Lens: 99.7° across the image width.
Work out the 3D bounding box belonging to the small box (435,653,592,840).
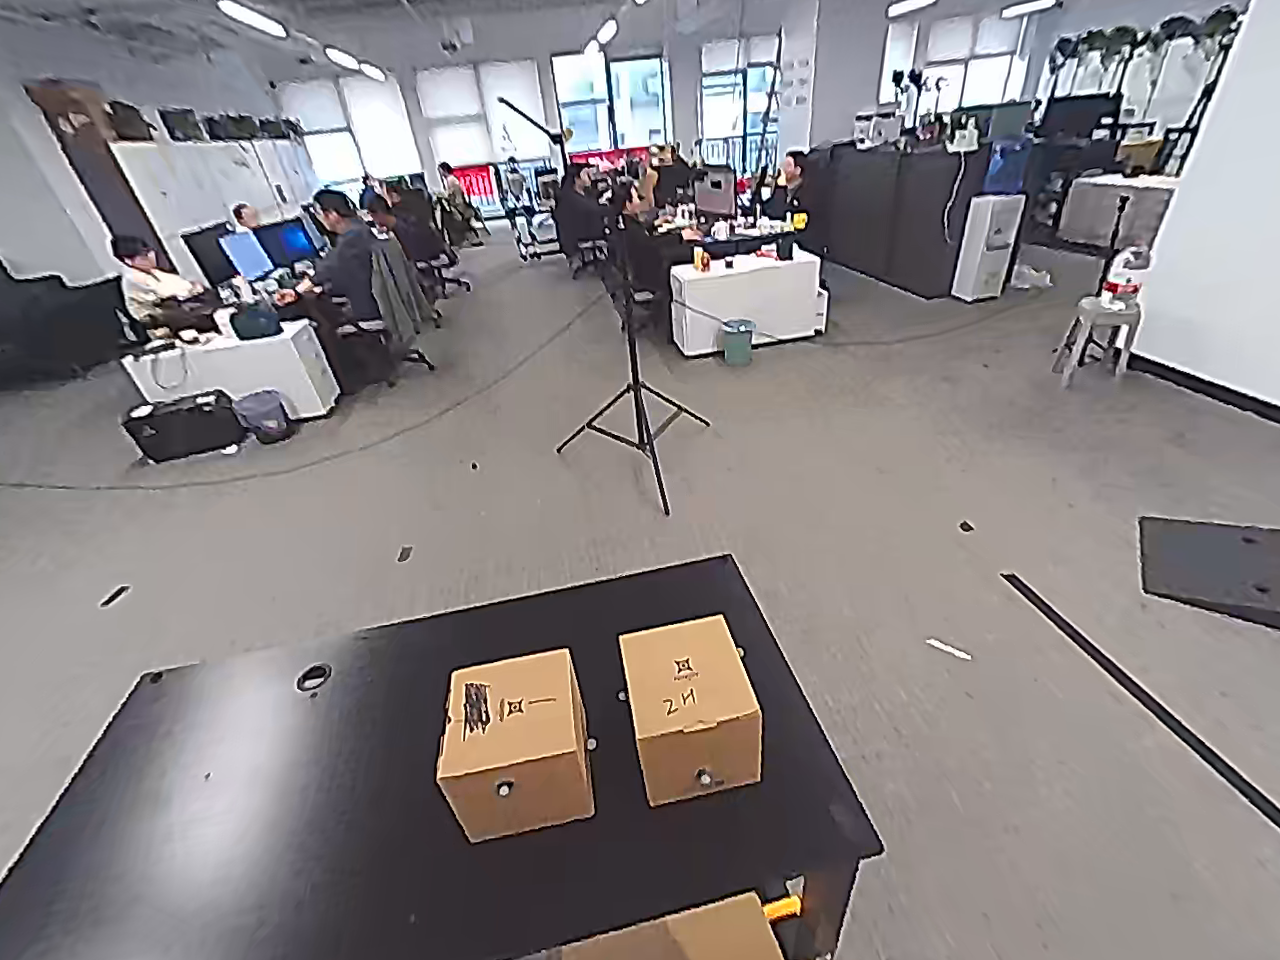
[{"bbox_3d":[-0.173,0.383,0.779,0.179,0.176,0.168,-9,33,-5],"label":"small box"}]

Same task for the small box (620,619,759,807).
[{"bbox_3d":[0.069,0.340,0.800,0.168,0.176,0.179,-11,33,-4],"label":"small box"}]
